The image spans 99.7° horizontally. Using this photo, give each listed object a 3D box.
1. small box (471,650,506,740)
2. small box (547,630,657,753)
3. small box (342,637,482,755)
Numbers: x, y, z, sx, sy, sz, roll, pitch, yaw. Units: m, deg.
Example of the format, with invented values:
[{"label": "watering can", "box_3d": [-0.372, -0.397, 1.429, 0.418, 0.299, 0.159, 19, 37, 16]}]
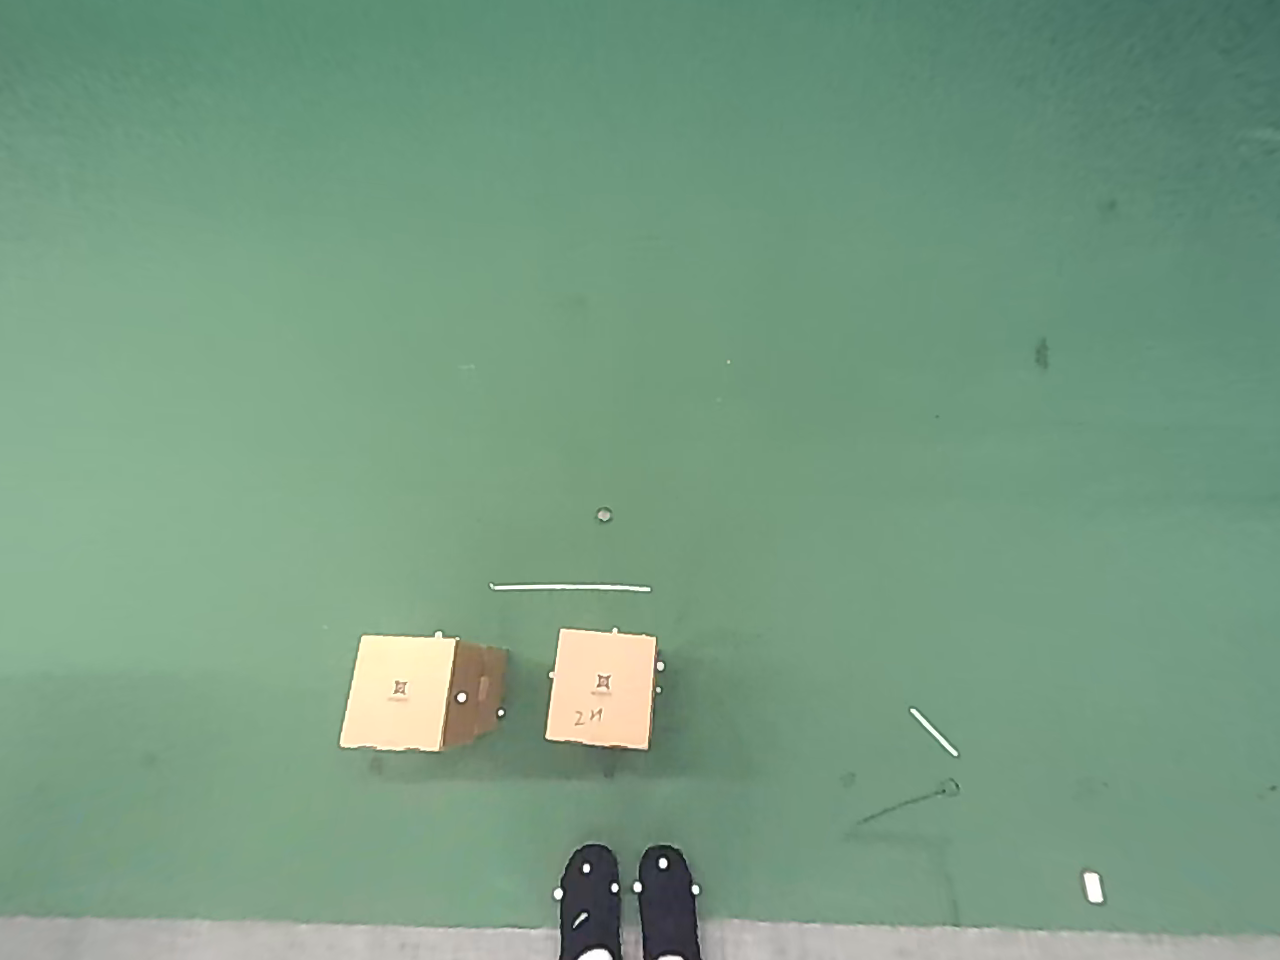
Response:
[{"label": "small box", "box_3d": [-0.389, 0.437, 1.120, 0.179, 0.176, 0.168, 1, 69, 3]}, {"label": "small box", "box_3d": [-0.059, 0.371, 0.959, 0.168, 0.176, 0.179, 5, 70, 3]}, {"label": "small box", "box_3d": [-0.392, 0.382, 0.966, 0.168, 0.176, 0.179, 1, 70, 2]}]
